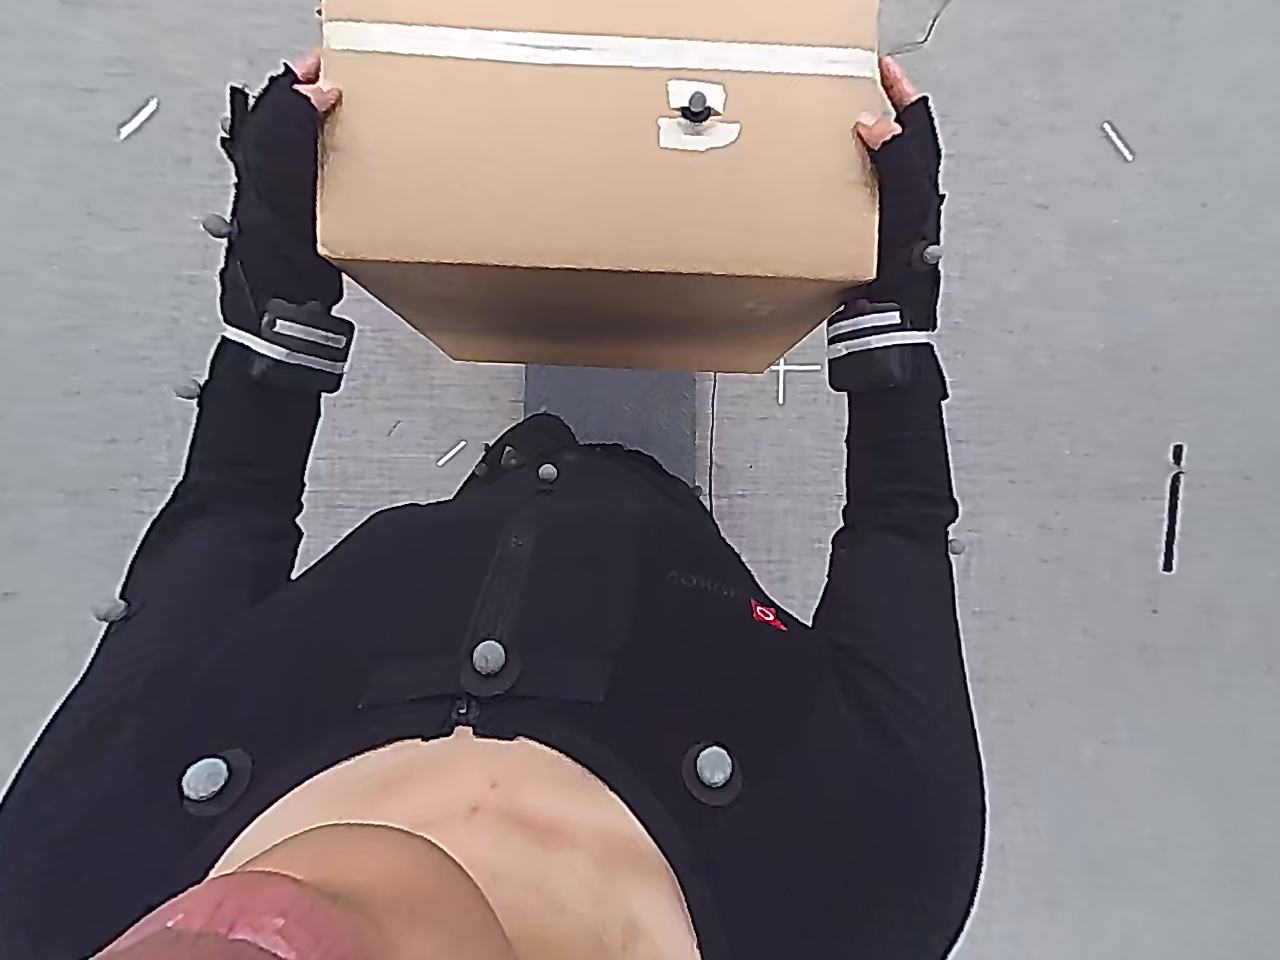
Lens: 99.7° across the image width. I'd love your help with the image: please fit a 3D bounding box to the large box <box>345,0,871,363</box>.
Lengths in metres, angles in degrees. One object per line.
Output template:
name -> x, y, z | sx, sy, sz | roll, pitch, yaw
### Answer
large box -> -0.027, -0.312, 0.561 | 0.408, 0.320, 0.320 | 1, 89, -2
